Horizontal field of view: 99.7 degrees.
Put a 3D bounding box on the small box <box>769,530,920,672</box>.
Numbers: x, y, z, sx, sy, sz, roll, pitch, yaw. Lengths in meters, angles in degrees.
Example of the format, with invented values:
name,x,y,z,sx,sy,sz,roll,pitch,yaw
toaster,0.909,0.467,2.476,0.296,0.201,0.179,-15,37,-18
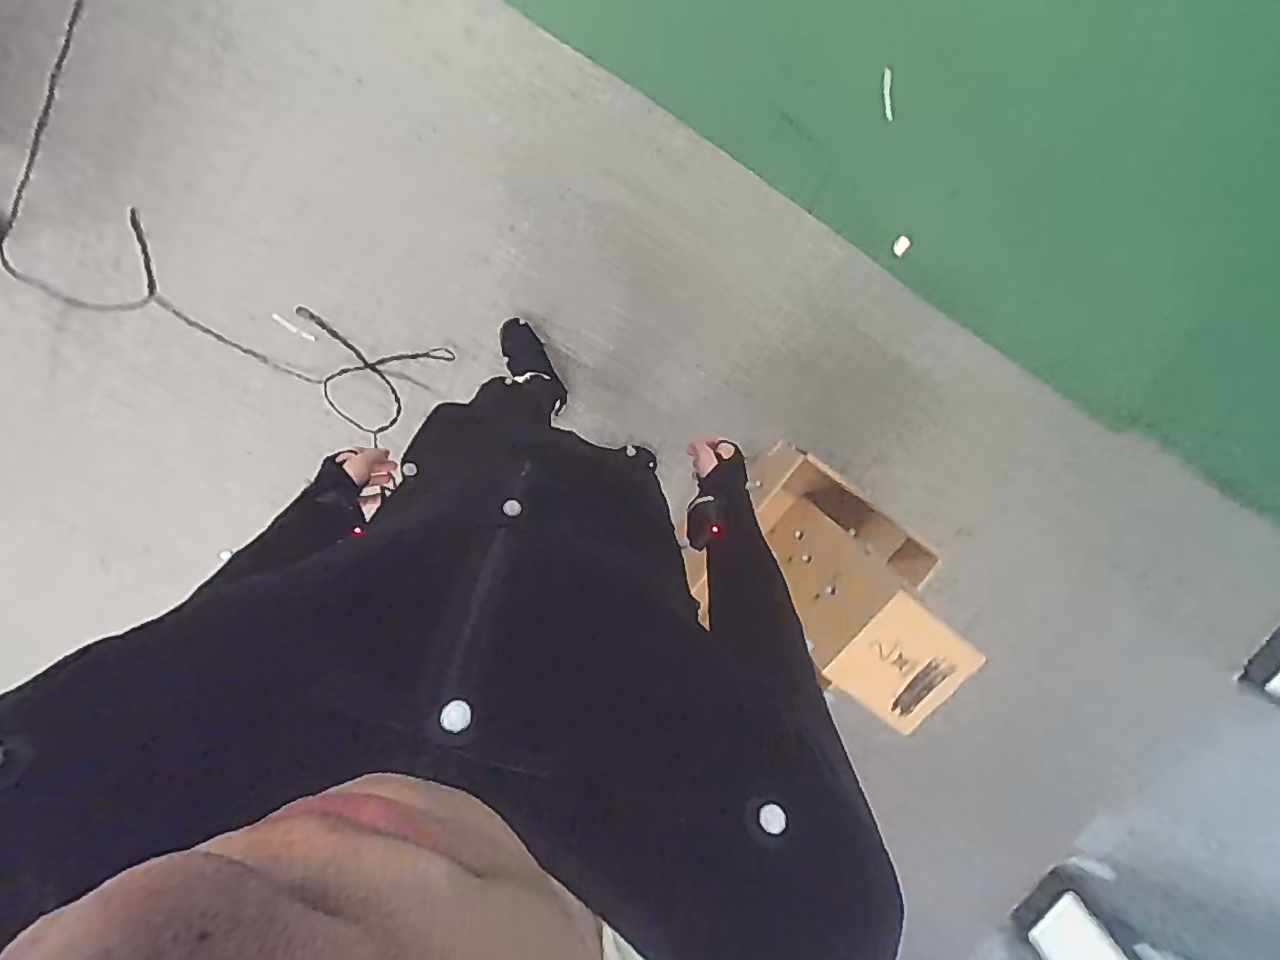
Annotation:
name,x,y,z,sx,sy,sz,roll,pitch,yaw
small box,0.369,0.214,1.015,0.179,0.176,0.168,37,101,-9
